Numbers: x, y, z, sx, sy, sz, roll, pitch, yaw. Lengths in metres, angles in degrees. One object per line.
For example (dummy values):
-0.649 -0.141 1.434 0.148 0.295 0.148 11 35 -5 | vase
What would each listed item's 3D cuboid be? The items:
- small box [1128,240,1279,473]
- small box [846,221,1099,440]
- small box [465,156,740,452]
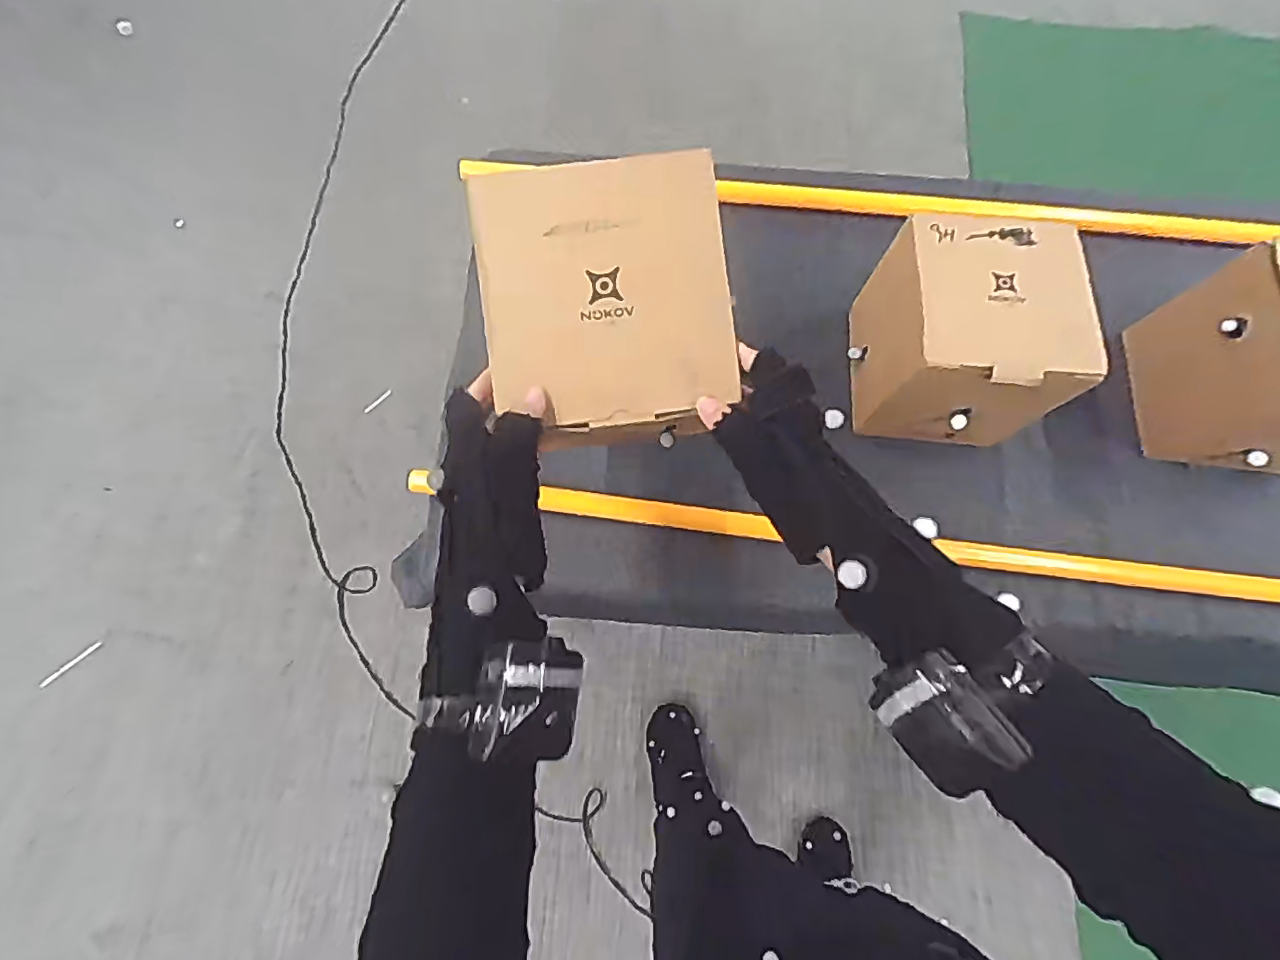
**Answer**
0.684 -0.123 0.585 0.168 0.176 0.179 6 73 2 | small box
0.340 -0.153 0.594 0.168 0.176 0.179 2 71 1 | small box
-0.026 -0.118 0.435 0.168 0.176 0.179 -8 89 -2 | small box
